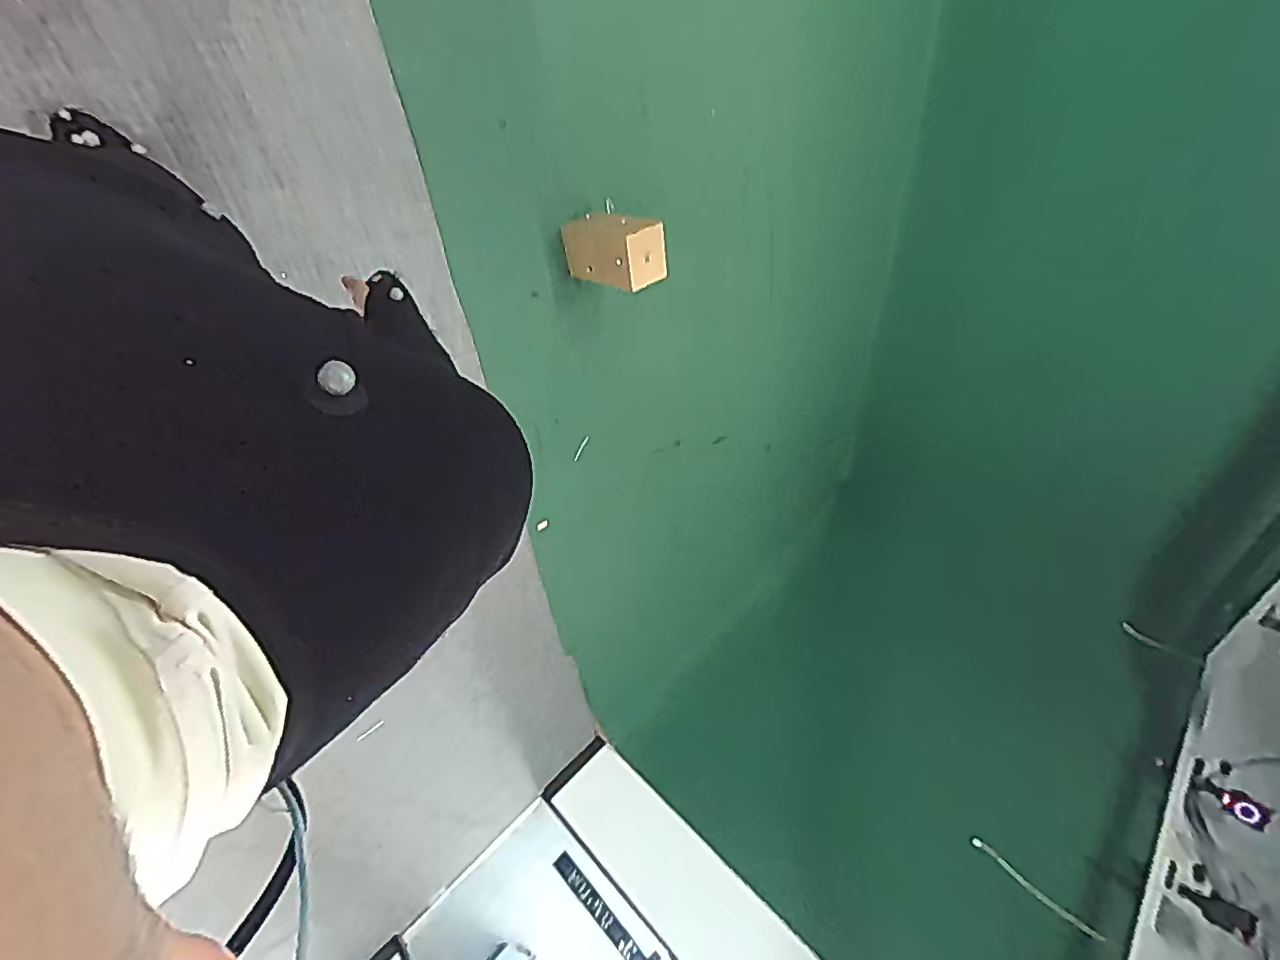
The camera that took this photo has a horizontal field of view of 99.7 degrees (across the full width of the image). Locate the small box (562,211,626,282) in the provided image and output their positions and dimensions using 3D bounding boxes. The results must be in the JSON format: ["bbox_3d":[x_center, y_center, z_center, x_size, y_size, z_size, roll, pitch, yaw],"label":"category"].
[{"bbox_3d":[-0.148,-0.814,1.879,0.168,0.176,0.179,-38,138,-28],"label":"small box"}]

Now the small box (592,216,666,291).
[{"bbox_3d":[-0.035,-0.750,1.782,0.168,0.176,0.179,-36,136,-29],"label":"small box"}]
